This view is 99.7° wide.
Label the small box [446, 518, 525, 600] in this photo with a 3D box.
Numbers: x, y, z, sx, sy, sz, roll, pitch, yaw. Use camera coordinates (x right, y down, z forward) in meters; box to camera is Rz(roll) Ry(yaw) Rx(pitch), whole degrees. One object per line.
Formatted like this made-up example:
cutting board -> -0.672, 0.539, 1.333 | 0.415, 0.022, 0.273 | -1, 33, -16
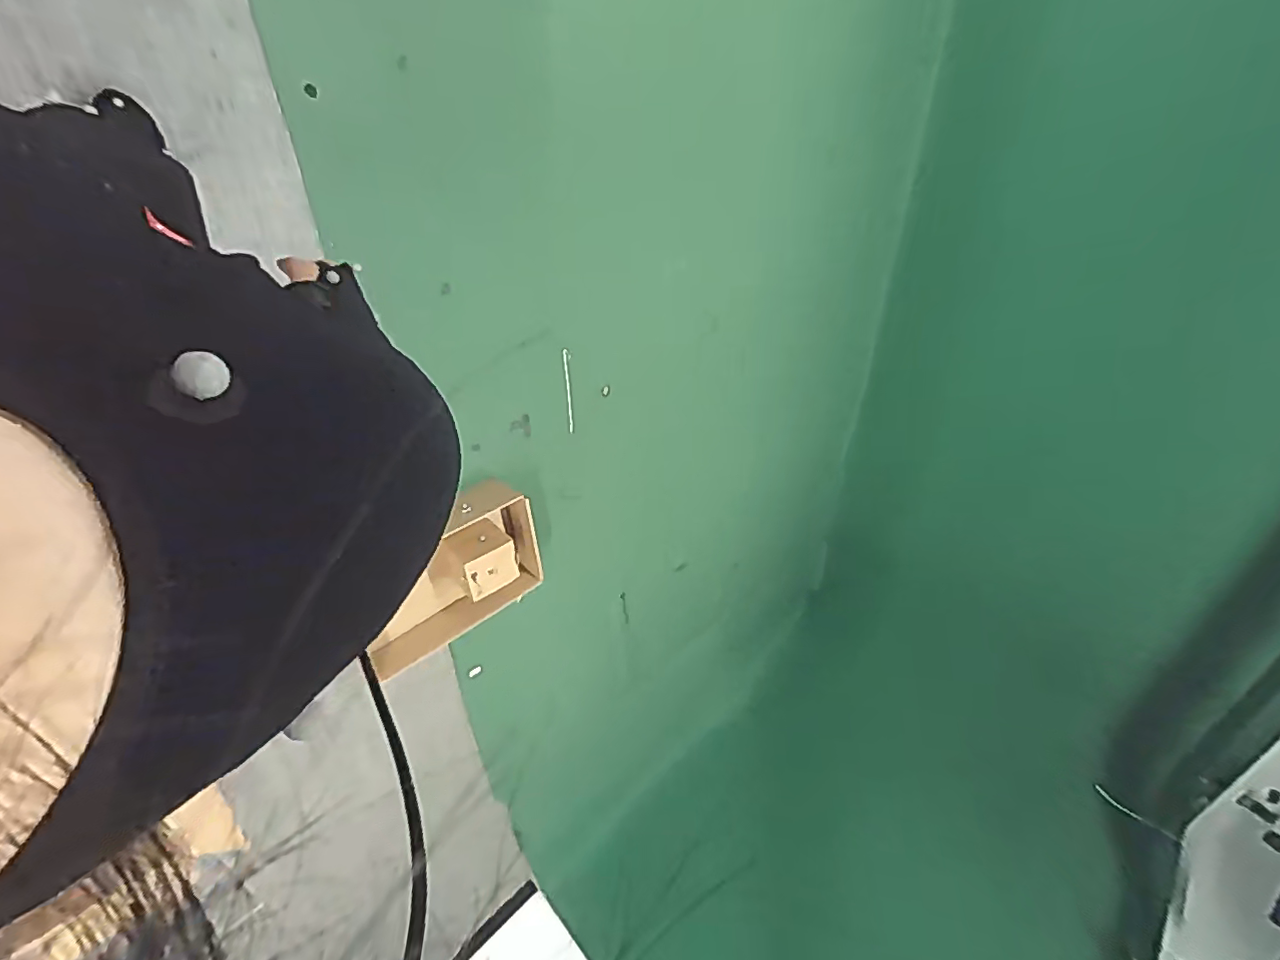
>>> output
small box -> -0.507, 0.253, 1.781 | 0.179, 0.176, 0.168 | -28, 133, -34
